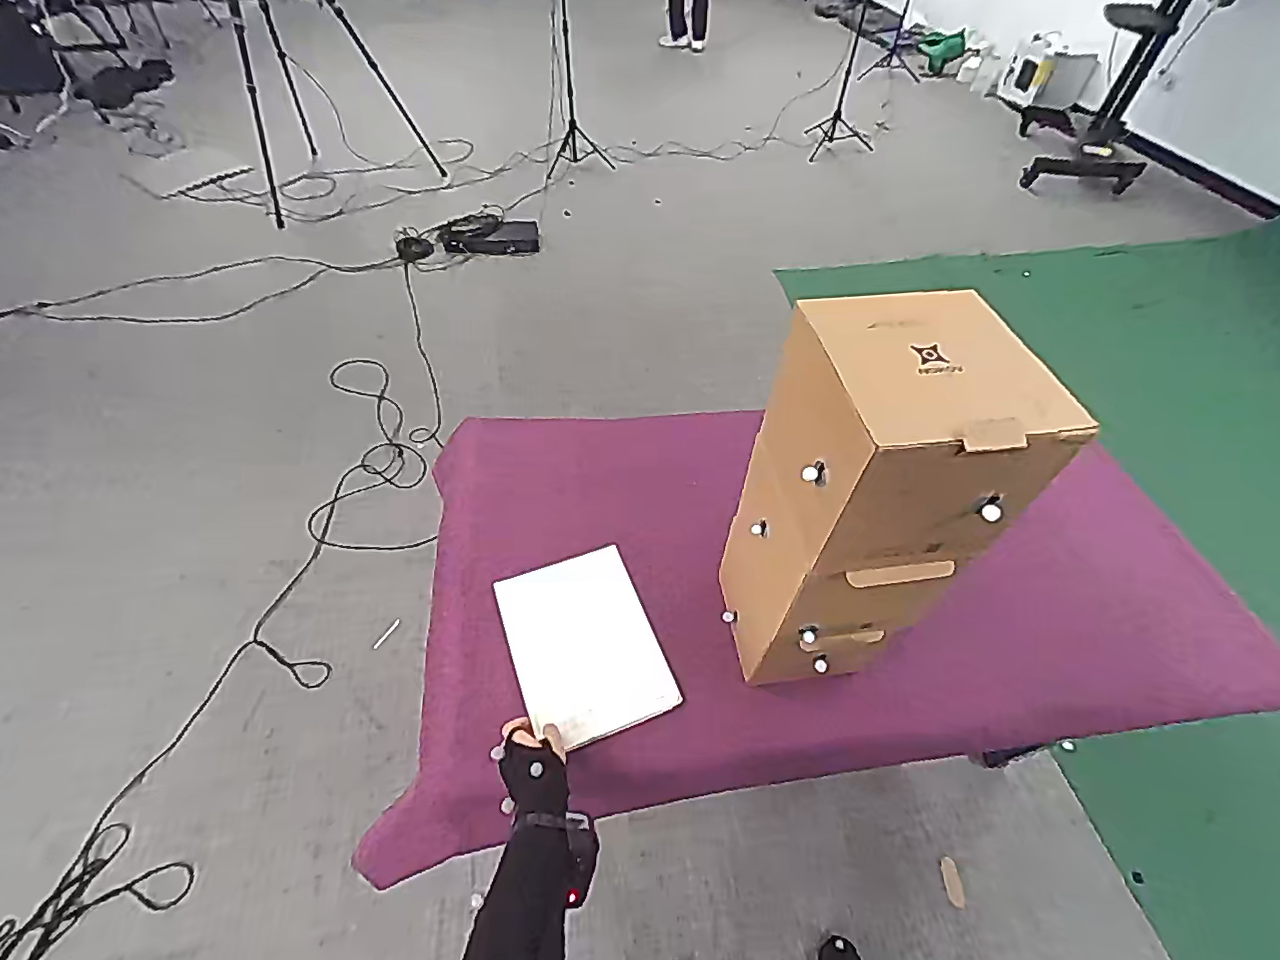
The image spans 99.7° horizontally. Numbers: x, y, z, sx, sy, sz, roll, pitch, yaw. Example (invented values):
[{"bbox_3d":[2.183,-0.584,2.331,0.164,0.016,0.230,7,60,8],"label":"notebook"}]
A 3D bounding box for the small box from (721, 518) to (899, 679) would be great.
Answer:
[{"bbox_3d":[0.216,0.161,0.742,0.168,0.176,0.179,-5,52,-6],"label":"small box"}]

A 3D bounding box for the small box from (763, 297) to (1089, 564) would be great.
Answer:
[{"bbox_3d":[0.221,-0.038,0.480,0.168,0.176,0.179,-4,50,-5],"label":"small box"}]

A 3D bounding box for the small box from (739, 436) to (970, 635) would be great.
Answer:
[{"bbox_3d":[0.219,0.062,0.610,0.168,0.176,0.179,-5,50,-5],"label":"small box"}]
